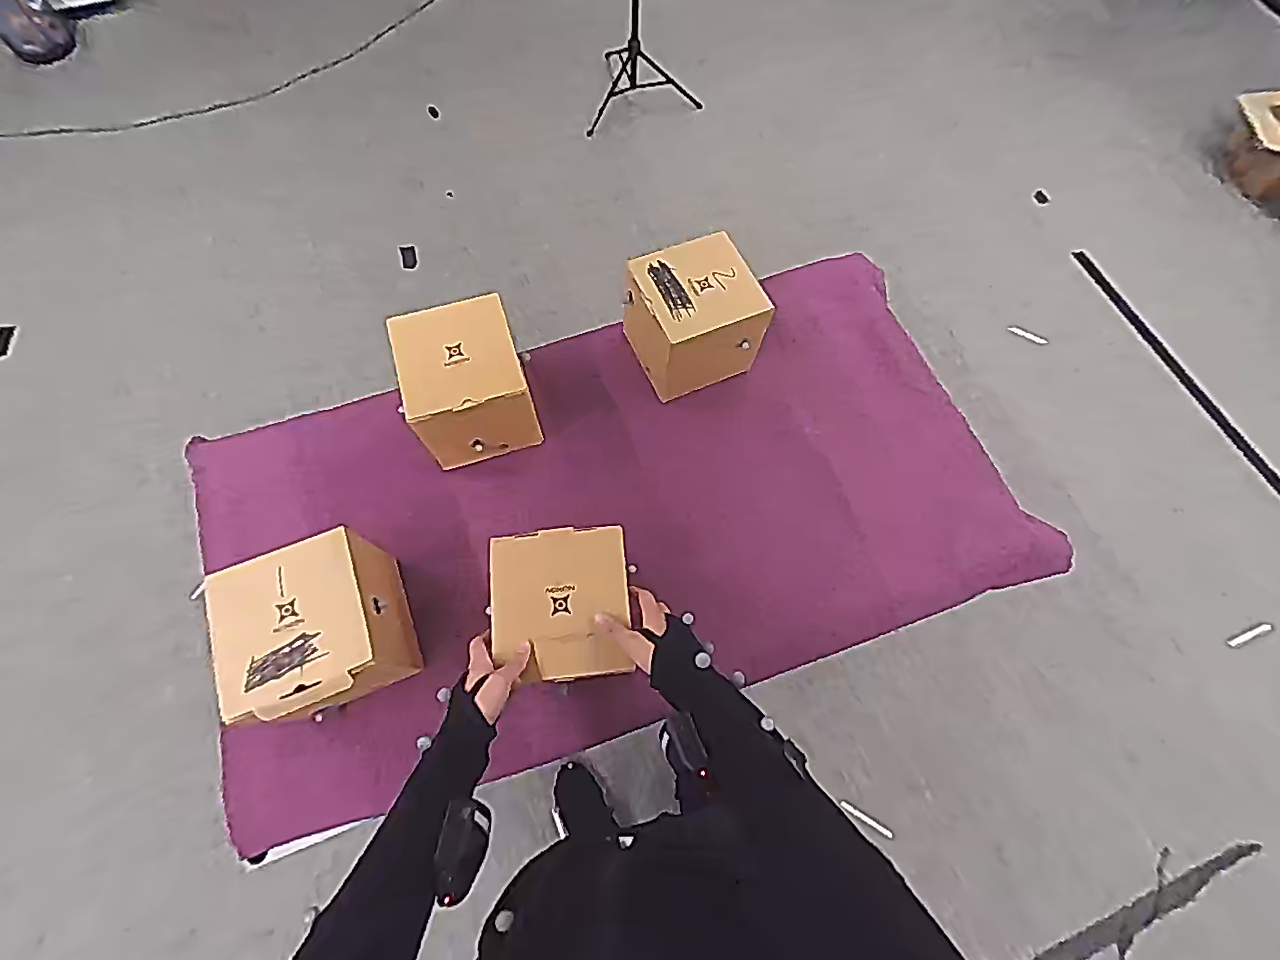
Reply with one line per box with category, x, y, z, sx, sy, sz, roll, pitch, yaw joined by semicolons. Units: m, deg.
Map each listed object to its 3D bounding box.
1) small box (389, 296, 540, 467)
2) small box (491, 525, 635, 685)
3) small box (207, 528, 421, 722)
small box;-0.261;-0.145;0.832;0.168;0.176;0.179;-17;71;-9
small box;-0.098;0.172;0.718;0.168;0.176;0.179;-6;70;-3
small box;-0.406;0.189;0.698;0.168;0.176;0.179;-21;70;-10
